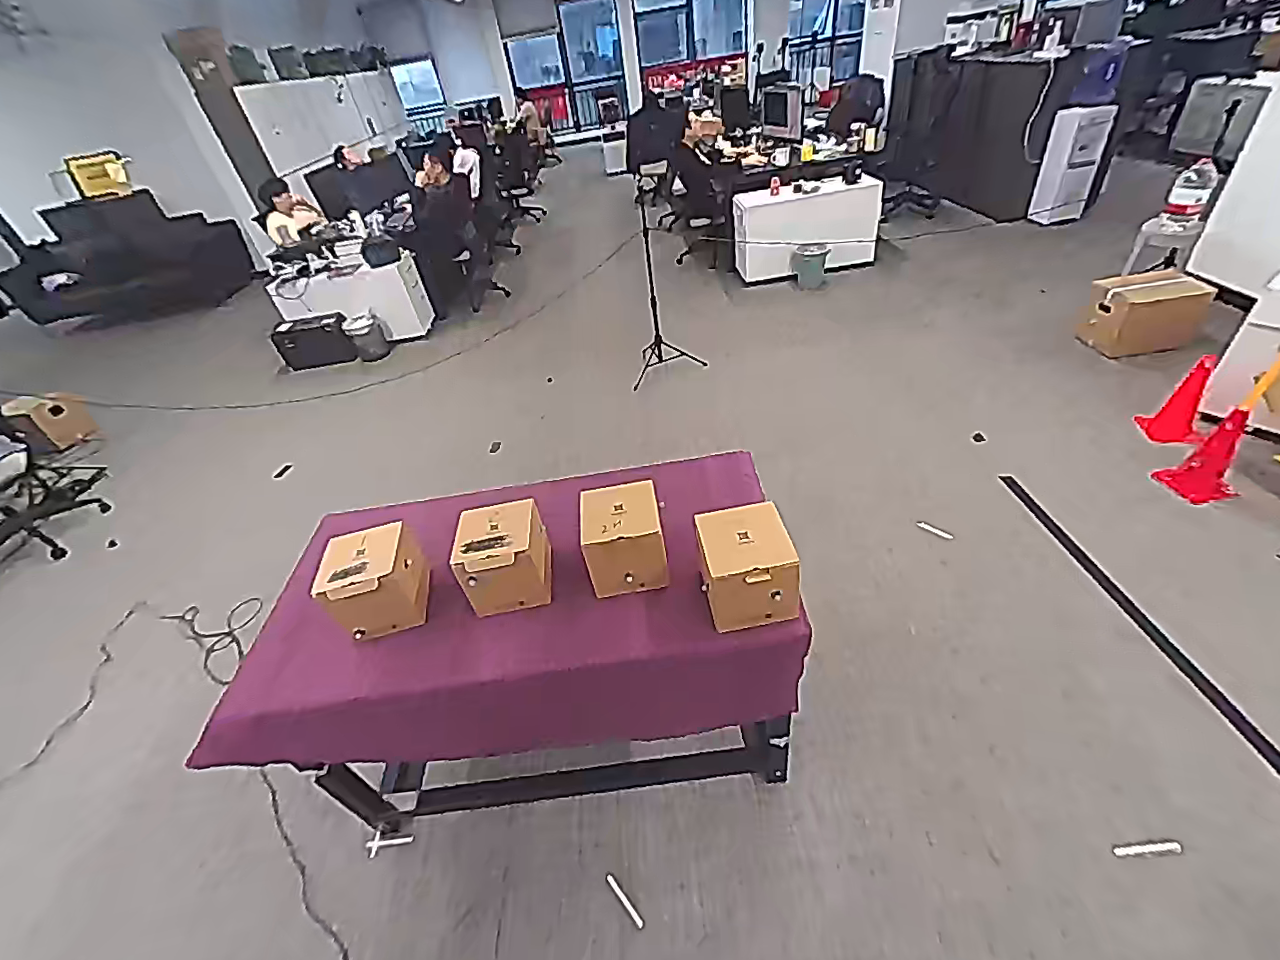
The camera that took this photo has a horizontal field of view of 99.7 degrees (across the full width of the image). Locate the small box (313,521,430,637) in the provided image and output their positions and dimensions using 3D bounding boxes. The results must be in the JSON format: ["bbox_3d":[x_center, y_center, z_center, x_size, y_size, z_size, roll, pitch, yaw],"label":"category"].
[{"bbox_3d":[-0.580,0.224,1.195,0.168,0.176,0.179,-14,38,-5],"label":"small box"}]

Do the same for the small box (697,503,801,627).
[{"bbox_3d":[0.214,0.175,1.078,0.168,0.176,0.179,-10,38,0],"label":"small box"}]

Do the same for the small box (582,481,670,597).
[{"bbox_3d":[-0.030,0.129,1.189,0.168,0.176,0.179,-10,39,2],"label":"small box"}]
